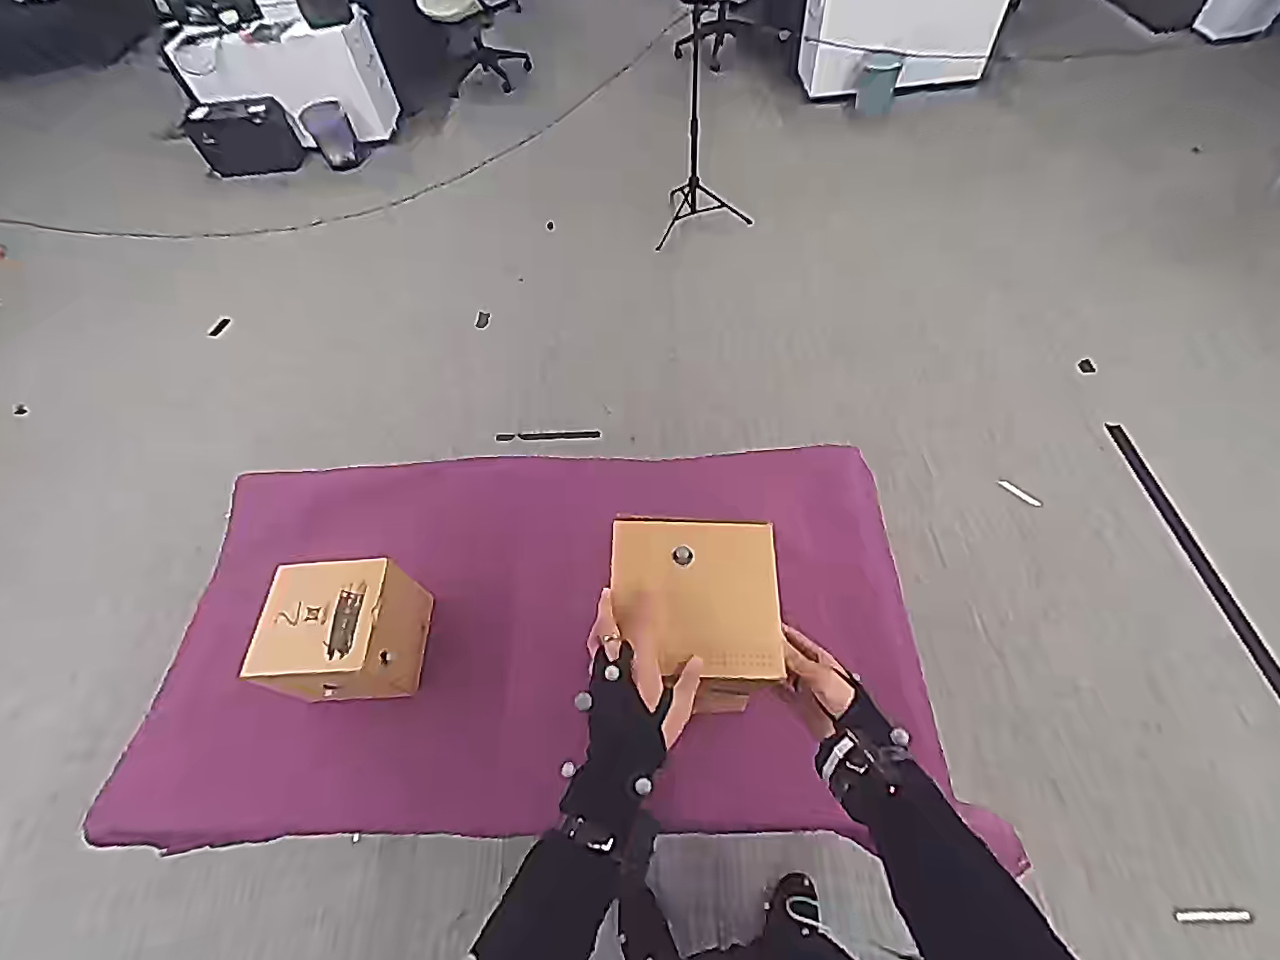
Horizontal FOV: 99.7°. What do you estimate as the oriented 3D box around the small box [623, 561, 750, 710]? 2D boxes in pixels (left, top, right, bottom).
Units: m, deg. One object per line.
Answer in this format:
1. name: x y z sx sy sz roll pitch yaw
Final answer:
1. small box: 0.066 0.235 0.793 0.168 0.176 0.179 -3 57 3
